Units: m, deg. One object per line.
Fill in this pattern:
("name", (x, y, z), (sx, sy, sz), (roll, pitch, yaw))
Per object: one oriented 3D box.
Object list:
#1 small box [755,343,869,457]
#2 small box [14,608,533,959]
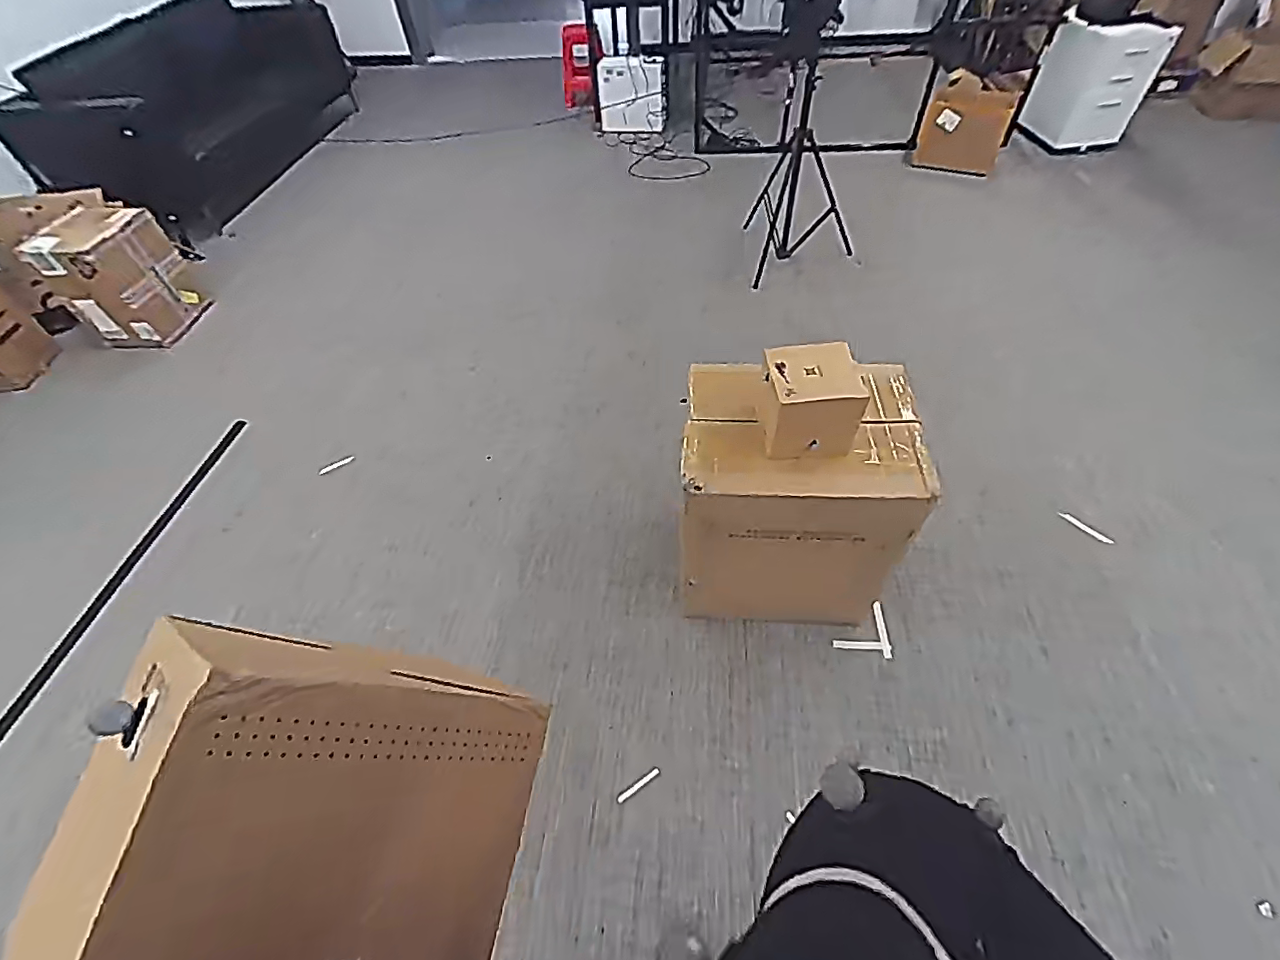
("small box", (0.351, -0.165, 1.139), (0.179, 0.176, 0.168), (-5, 52, 1))
("small box", (-0.185, 0.177, 0.299), (0.168, 0.179, 0.176), (-7, 64, 45))
